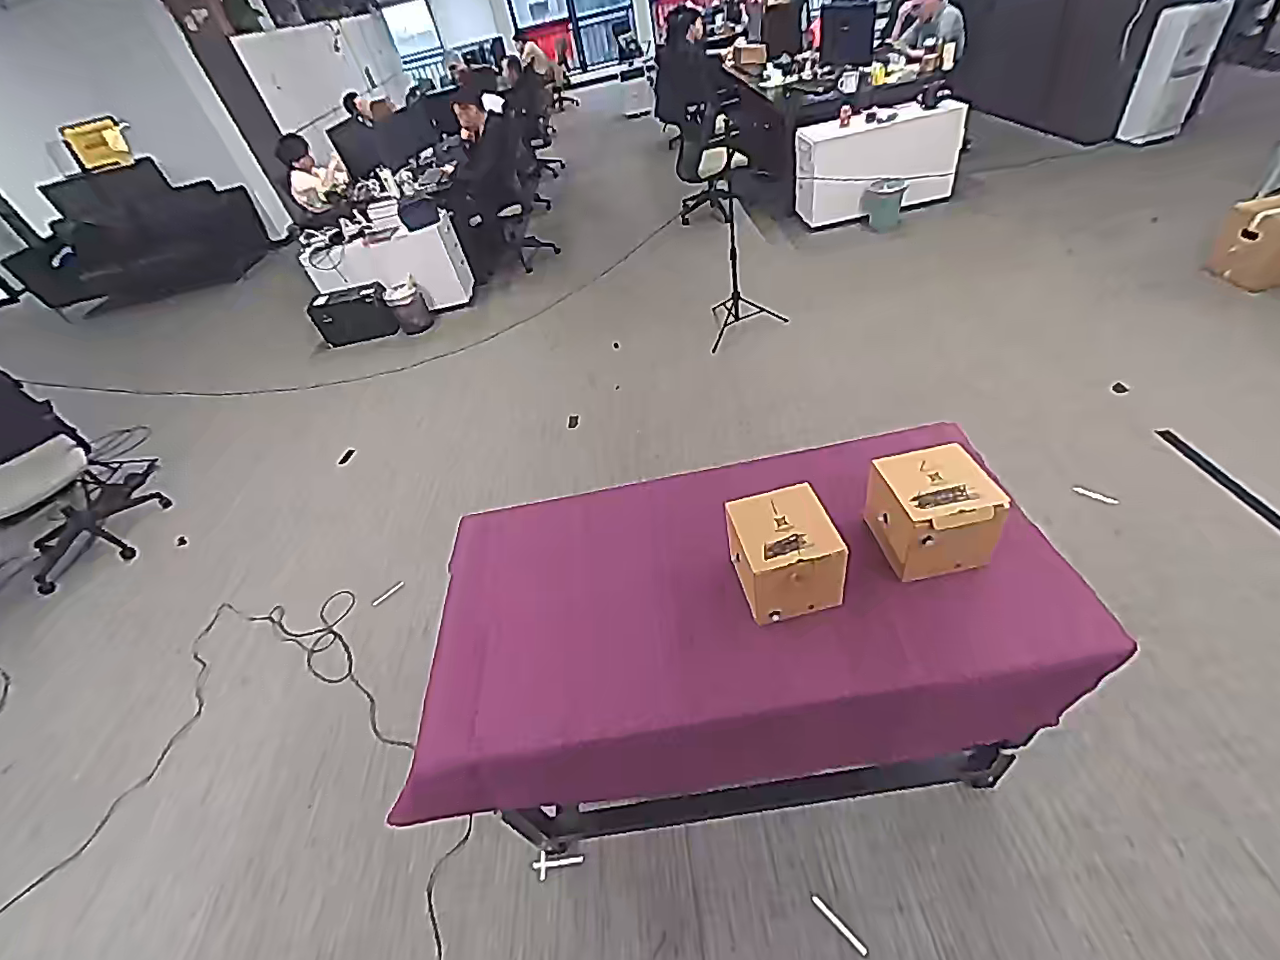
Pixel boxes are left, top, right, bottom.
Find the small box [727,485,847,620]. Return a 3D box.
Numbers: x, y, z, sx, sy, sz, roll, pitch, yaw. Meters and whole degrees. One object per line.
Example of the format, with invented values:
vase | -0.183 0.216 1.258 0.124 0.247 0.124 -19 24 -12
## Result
small box | 0.271 0.143 1.017 0.168 0.176 0.179 -14 42 0
